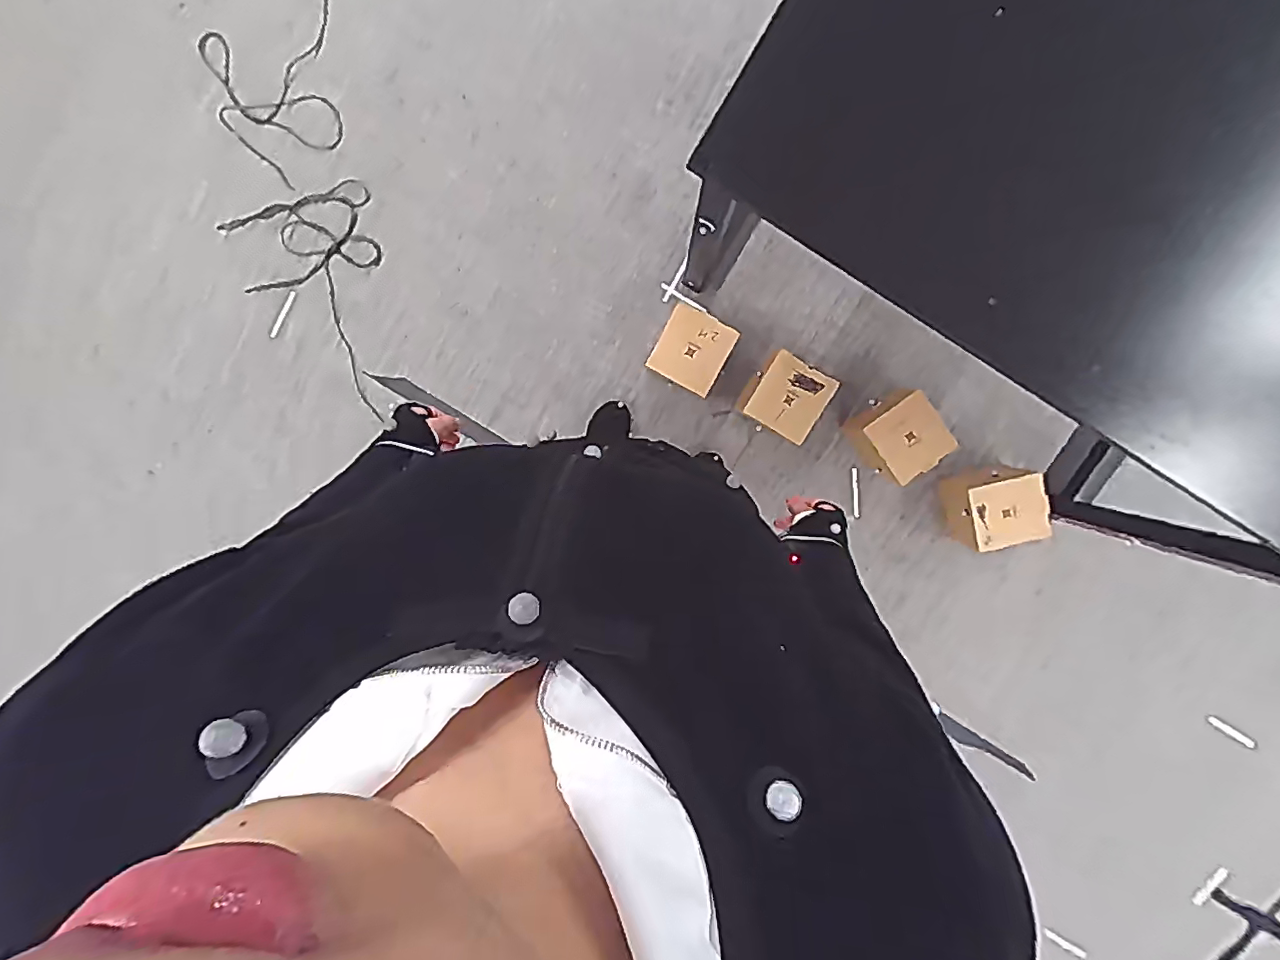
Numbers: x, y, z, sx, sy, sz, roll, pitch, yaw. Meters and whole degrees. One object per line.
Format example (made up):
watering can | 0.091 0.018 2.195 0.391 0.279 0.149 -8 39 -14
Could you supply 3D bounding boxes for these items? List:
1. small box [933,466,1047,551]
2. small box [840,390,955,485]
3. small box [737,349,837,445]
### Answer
small box | 0.891 0.066 1.387 0.179 0.176 0.168 -14 97 4
small box | 0.646 -0.112 1.375 0.168 0.176 0.179 -37 94 6
small box | 0.361 -0.210 1.370 0.168 0.176 0.179 31 100 -2
